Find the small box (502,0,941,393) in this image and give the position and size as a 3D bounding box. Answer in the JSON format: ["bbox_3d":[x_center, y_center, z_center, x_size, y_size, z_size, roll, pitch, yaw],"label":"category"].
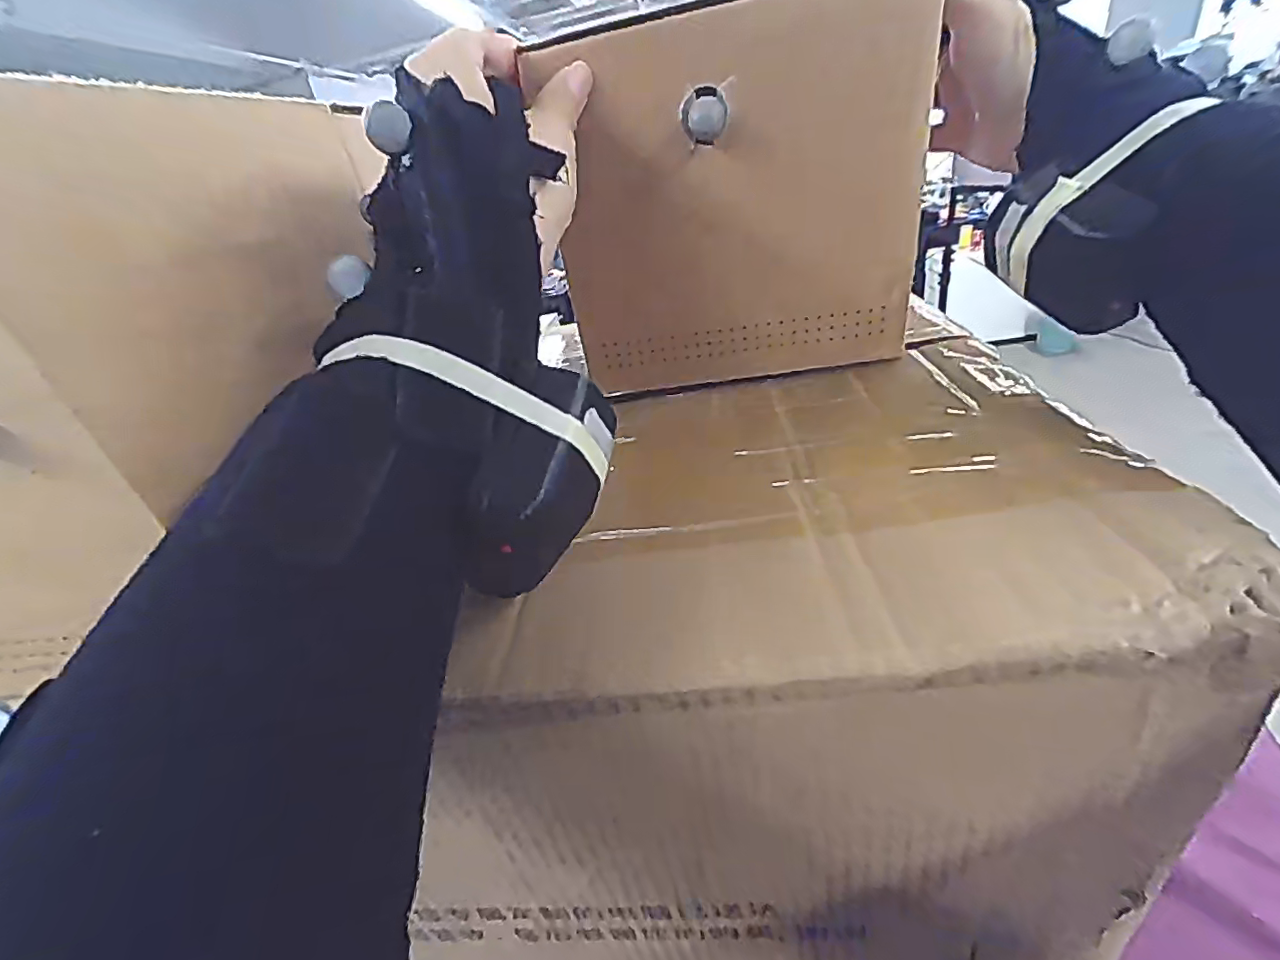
[{"bbox_3d":[0.048,-0.167,0.319,0.179,0.176,0.168,-6,34,10],"label":"small box"}]
